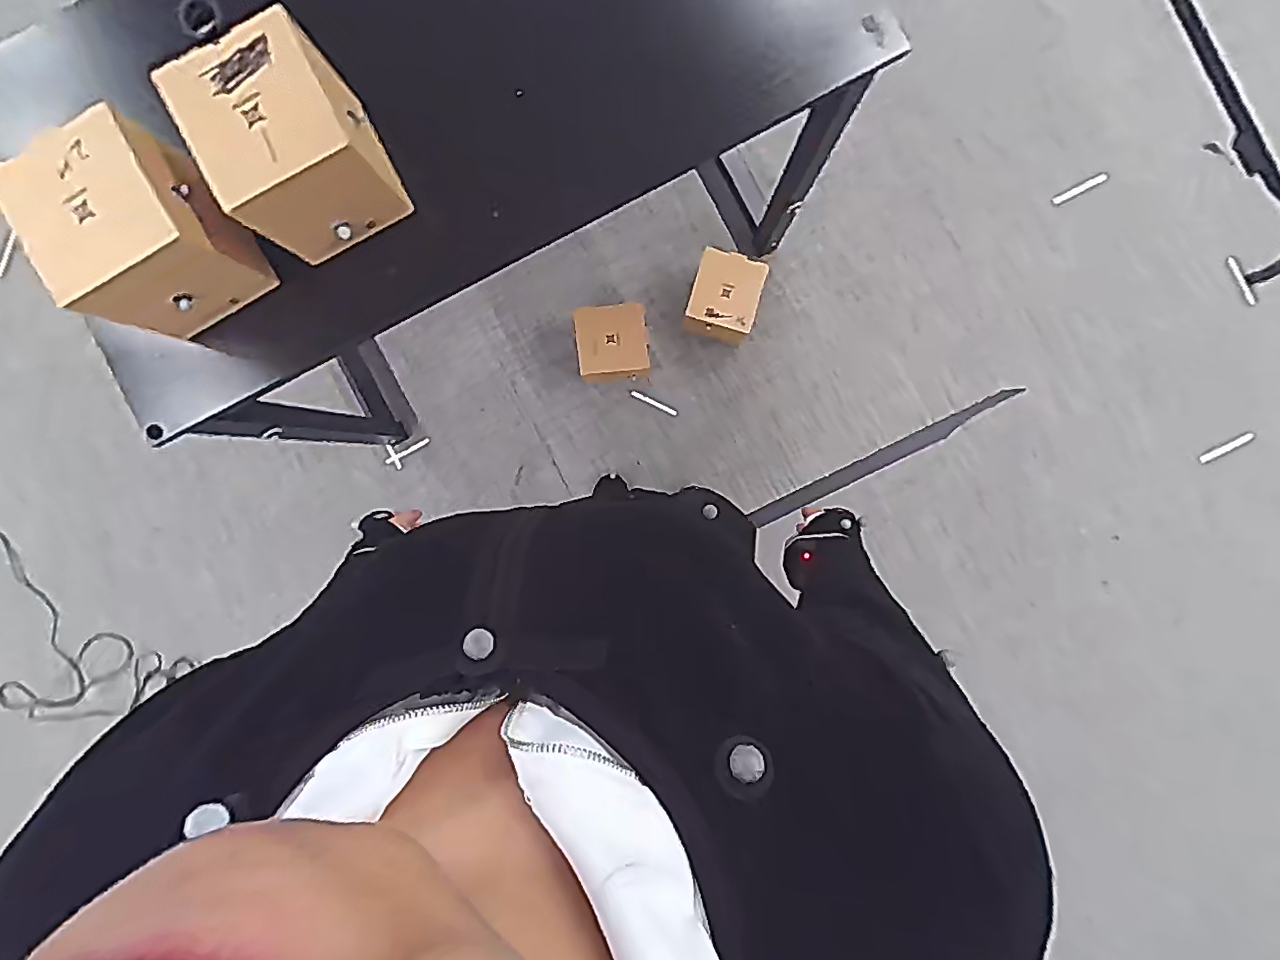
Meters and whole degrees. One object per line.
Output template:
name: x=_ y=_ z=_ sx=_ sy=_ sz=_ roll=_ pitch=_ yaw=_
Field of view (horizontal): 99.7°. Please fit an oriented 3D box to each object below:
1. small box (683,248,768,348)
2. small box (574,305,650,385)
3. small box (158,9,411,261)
small box: x=0.212 y=-0.462 z=1.397 sx=0.168 sy=0.176 sz=0.179 roll=17 pitch=92 yaw=1
small box: x=-0.068 y=-0.346 z=1.409 sx=0.179 sy=0.176 sz=0.168 roll=-6 pitch=91 yaw=2
small box: x=-0.429 y=-0.415 z=0.683 sx=0.168 sy=0.176 sz=0.179 roll=-27 pitch=92 yaw=2
